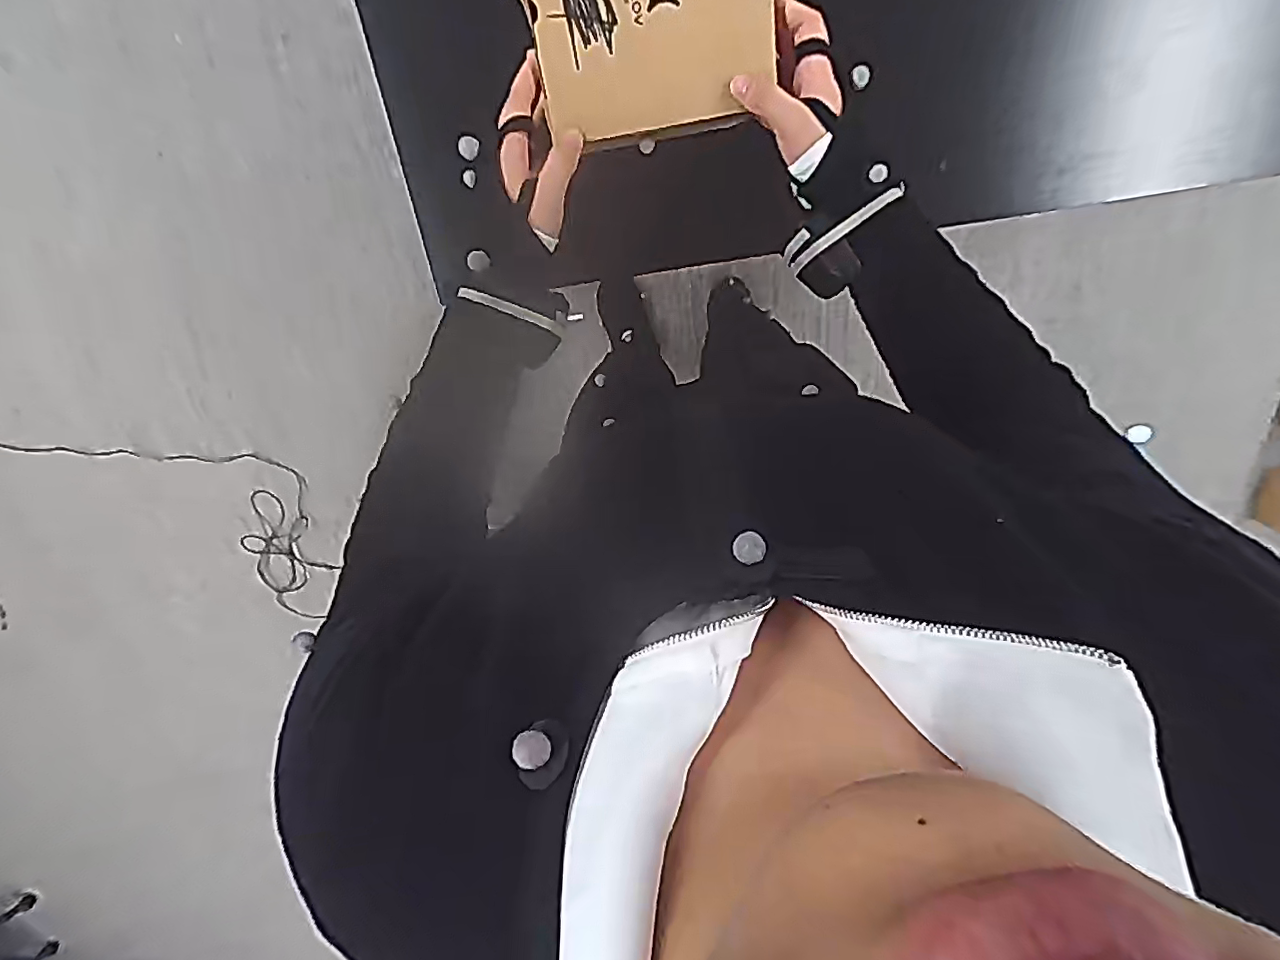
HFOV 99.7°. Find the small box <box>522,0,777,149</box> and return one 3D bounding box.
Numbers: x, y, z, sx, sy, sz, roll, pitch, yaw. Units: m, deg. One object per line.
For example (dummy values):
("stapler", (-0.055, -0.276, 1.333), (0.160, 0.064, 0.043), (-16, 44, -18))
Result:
("small box", (0.001, -0.378, 0.436), (0.179, 0.176, 0.168), (-10, 119, 1))

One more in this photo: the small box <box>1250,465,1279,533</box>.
("small box", (1.914, 0.065, 1.534), (0.168, 0.176, 0.179), (-9, 115, 3))
